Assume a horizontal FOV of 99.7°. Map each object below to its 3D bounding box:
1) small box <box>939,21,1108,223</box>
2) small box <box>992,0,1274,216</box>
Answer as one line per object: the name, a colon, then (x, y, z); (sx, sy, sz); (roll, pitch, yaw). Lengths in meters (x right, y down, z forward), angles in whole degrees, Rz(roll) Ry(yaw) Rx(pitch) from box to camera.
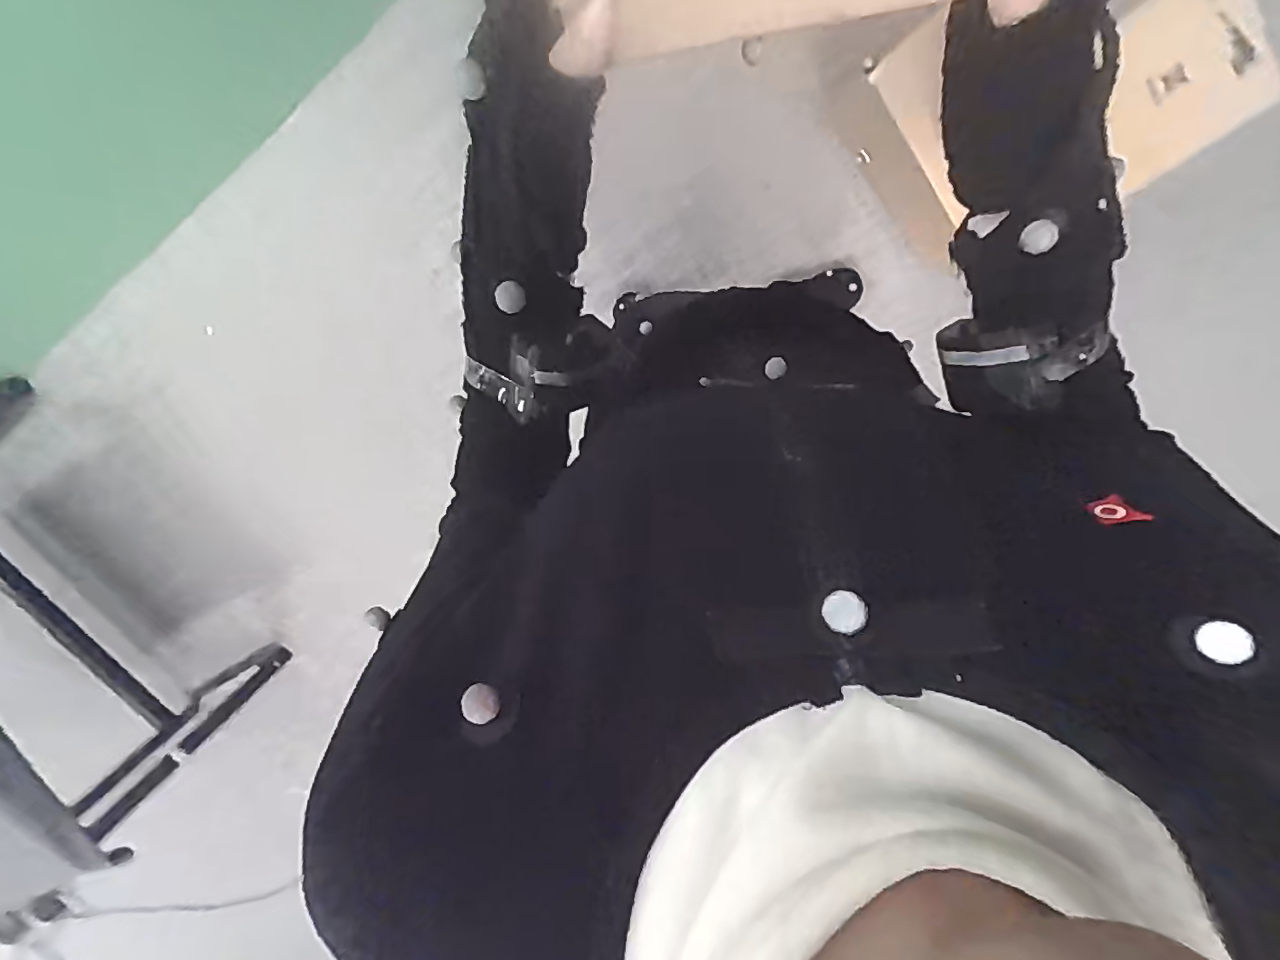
small box: (0.578, -0.502, 0.796); (0.168, 0.176, 0.179); (-31, 106, 20)
small box: (0.559, -0.441, 0.646); (0.179, 0.176, 0.168); (-31, 105, 20)
